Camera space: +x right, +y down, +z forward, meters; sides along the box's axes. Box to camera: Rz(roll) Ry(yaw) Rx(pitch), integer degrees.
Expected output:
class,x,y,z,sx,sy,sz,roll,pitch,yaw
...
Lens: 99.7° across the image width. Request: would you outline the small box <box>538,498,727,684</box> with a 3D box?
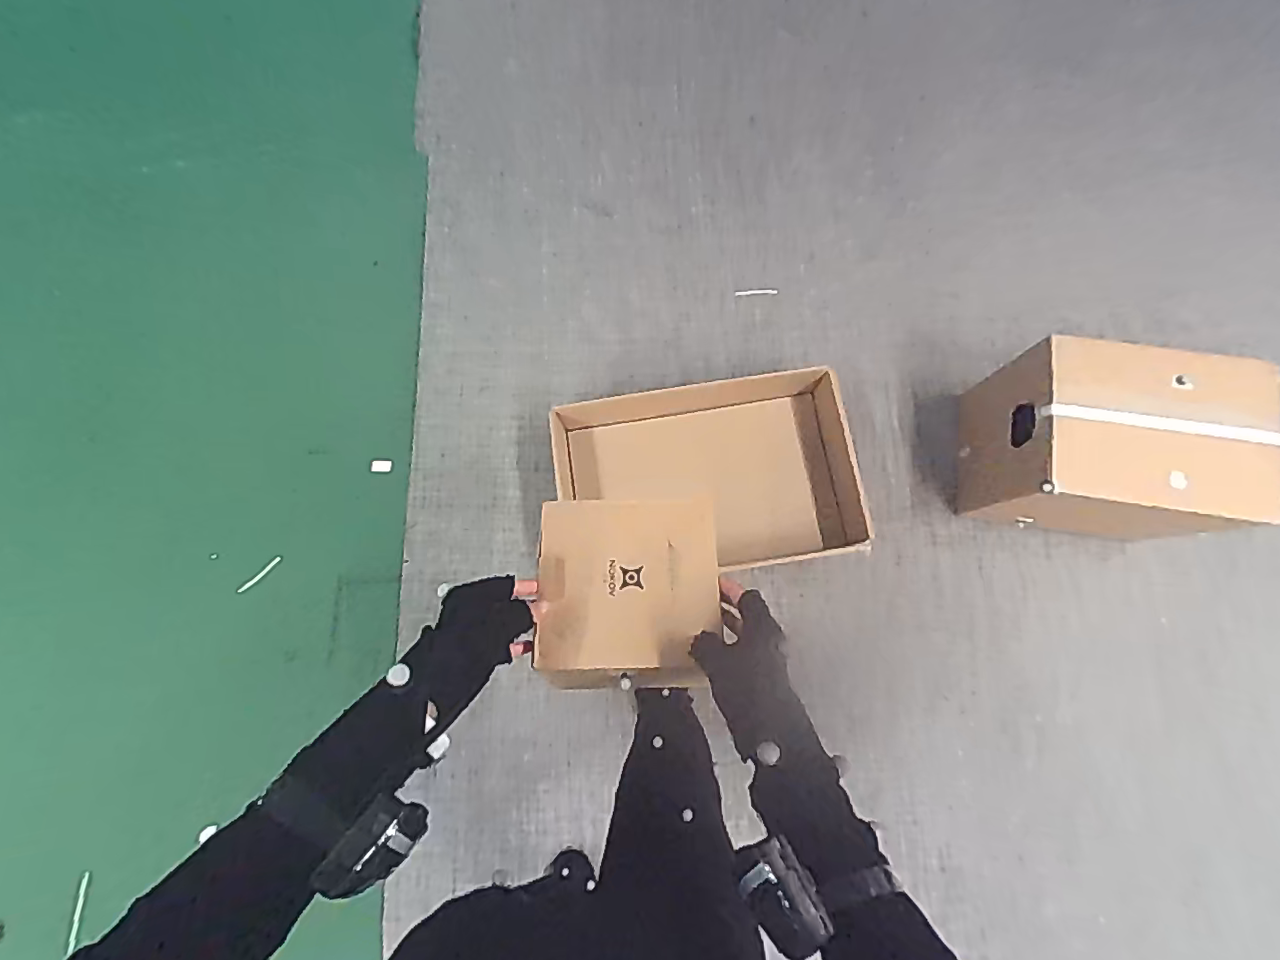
class,x,y,z,sx,sy,sz,roll,pitch,yaw
small box,-0.008,0.129,0.599,0.179,0.176,0.168,-1,63,-2
